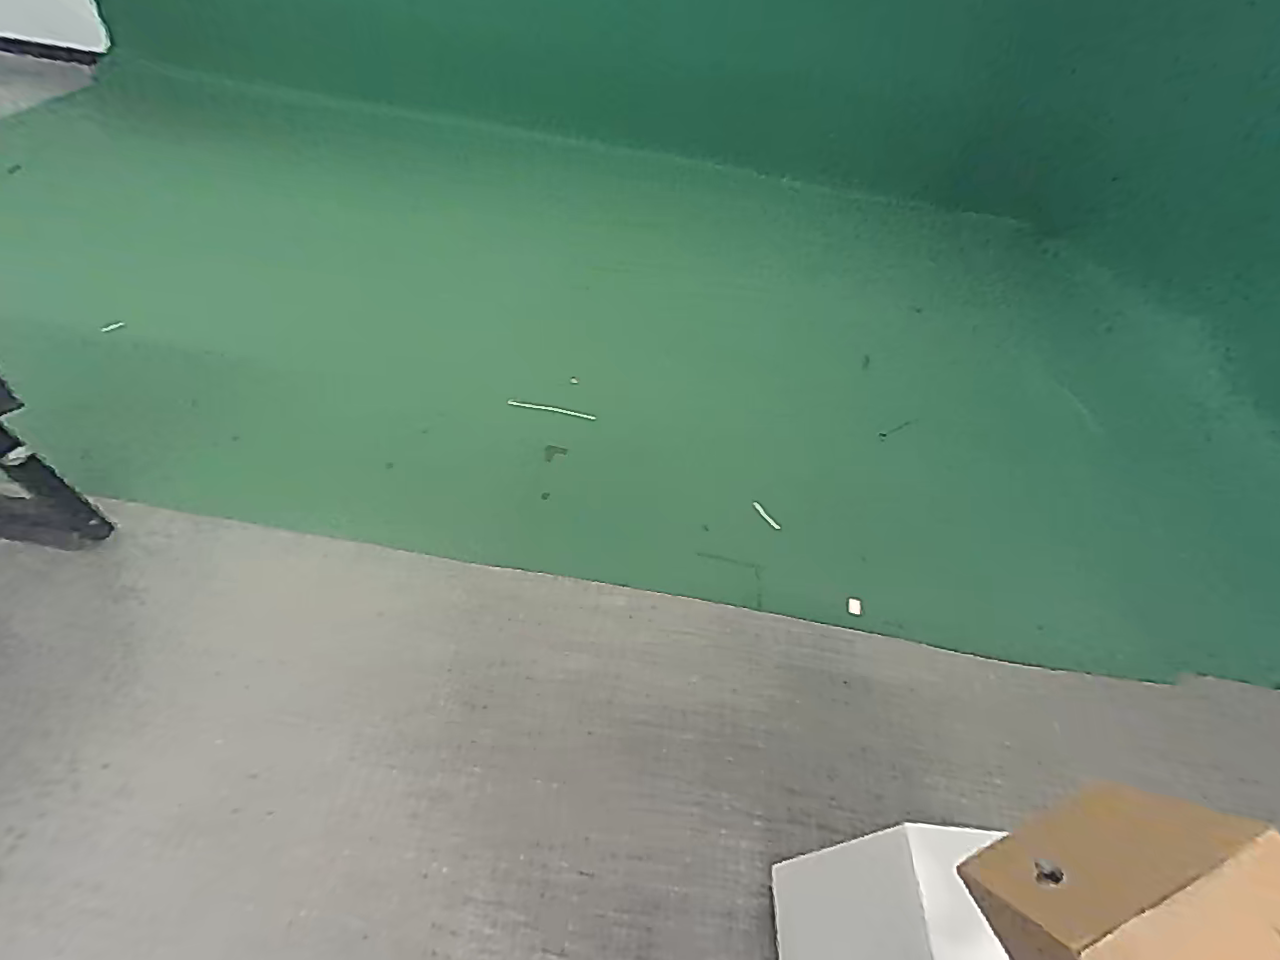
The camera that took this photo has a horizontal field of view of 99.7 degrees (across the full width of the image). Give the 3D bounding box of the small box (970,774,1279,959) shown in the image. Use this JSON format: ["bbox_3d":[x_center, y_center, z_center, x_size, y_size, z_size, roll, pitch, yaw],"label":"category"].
[{"bbox_3d":[0.404,0.367,0.427,0.179,0.176,0.168,-27,74,-7],"label":"small box"}]
